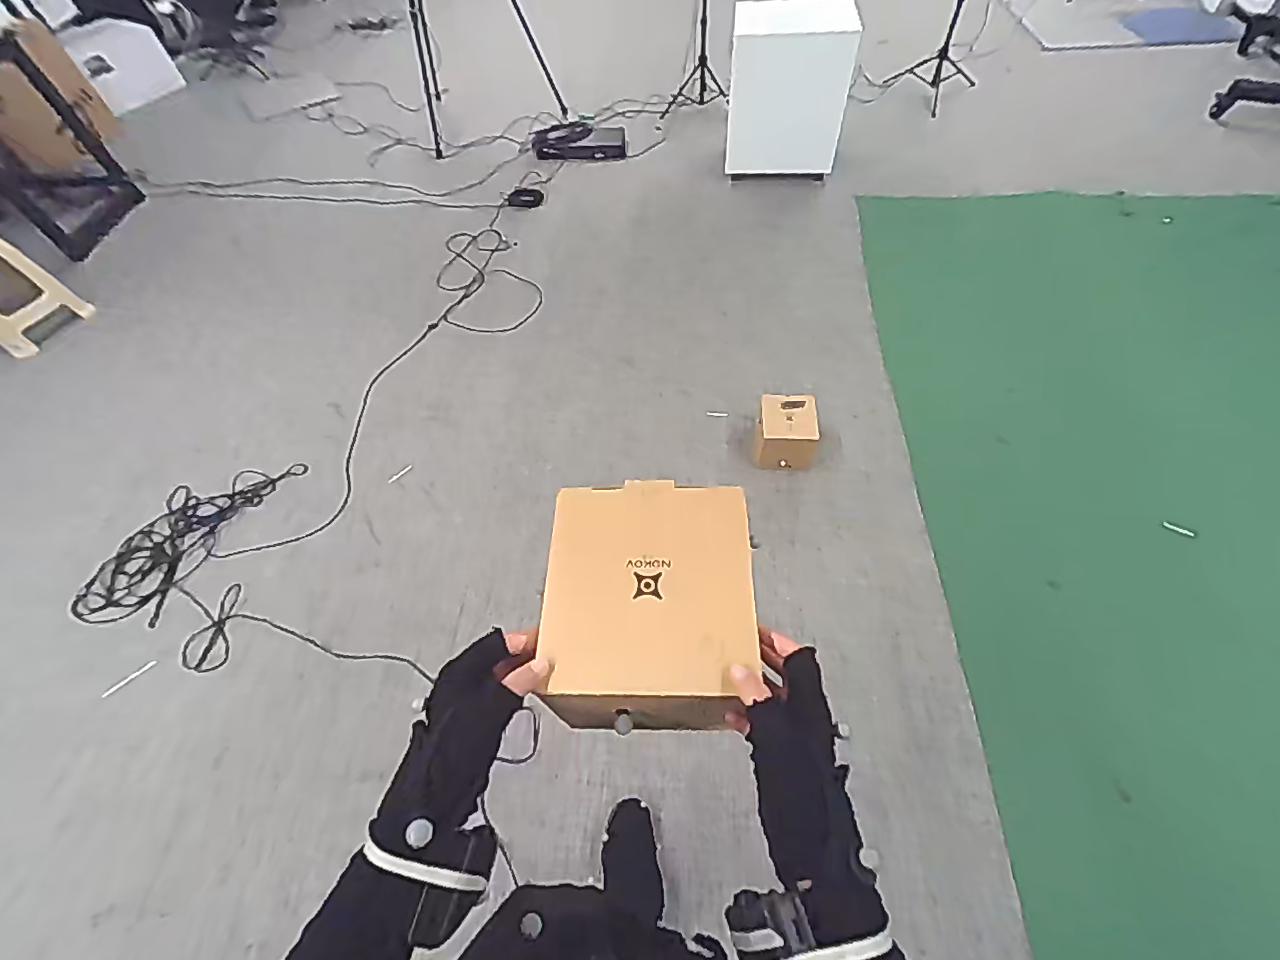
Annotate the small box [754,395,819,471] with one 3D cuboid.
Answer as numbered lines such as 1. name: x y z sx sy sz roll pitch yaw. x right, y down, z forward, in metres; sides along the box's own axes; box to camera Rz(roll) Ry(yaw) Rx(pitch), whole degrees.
1. small box: 0.457 -0.148 1.713 0.168 0.176 0.179 2 57 5
